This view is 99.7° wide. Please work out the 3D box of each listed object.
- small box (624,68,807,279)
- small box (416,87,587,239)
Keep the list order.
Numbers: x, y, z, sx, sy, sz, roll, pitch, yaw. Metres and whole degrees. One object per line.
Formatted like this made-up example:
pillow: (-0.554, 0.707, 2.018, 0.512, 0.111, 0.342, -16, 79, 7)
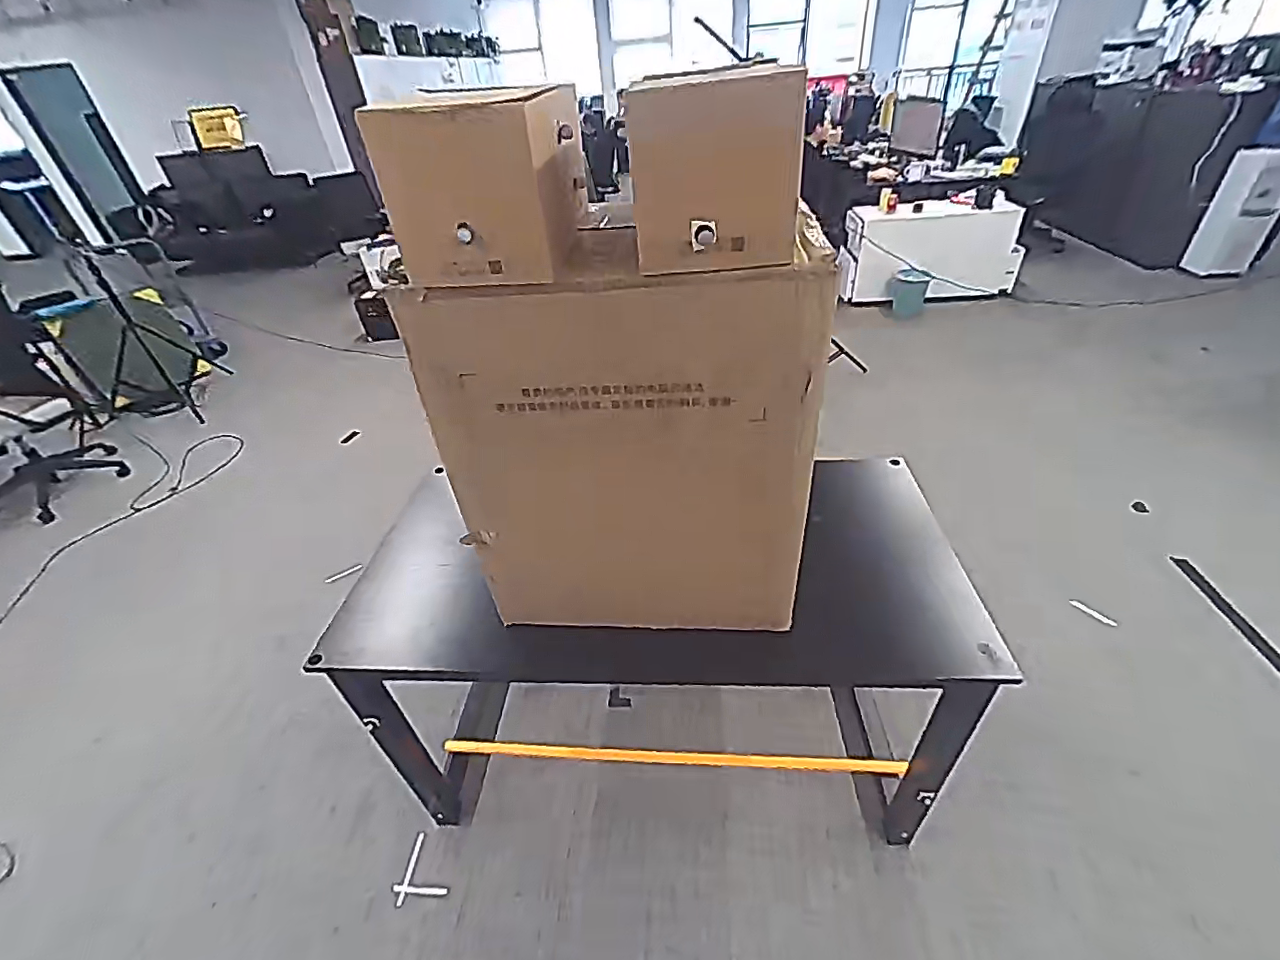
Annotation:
small box: (0.077, -0.335, 0.592, 0.168, 0.176, 0.179, -5, 39, 5)
small box: (-0.181, -0.450, 0.771, 0.179, 0.176, 0.168, 1, 37, 6)
